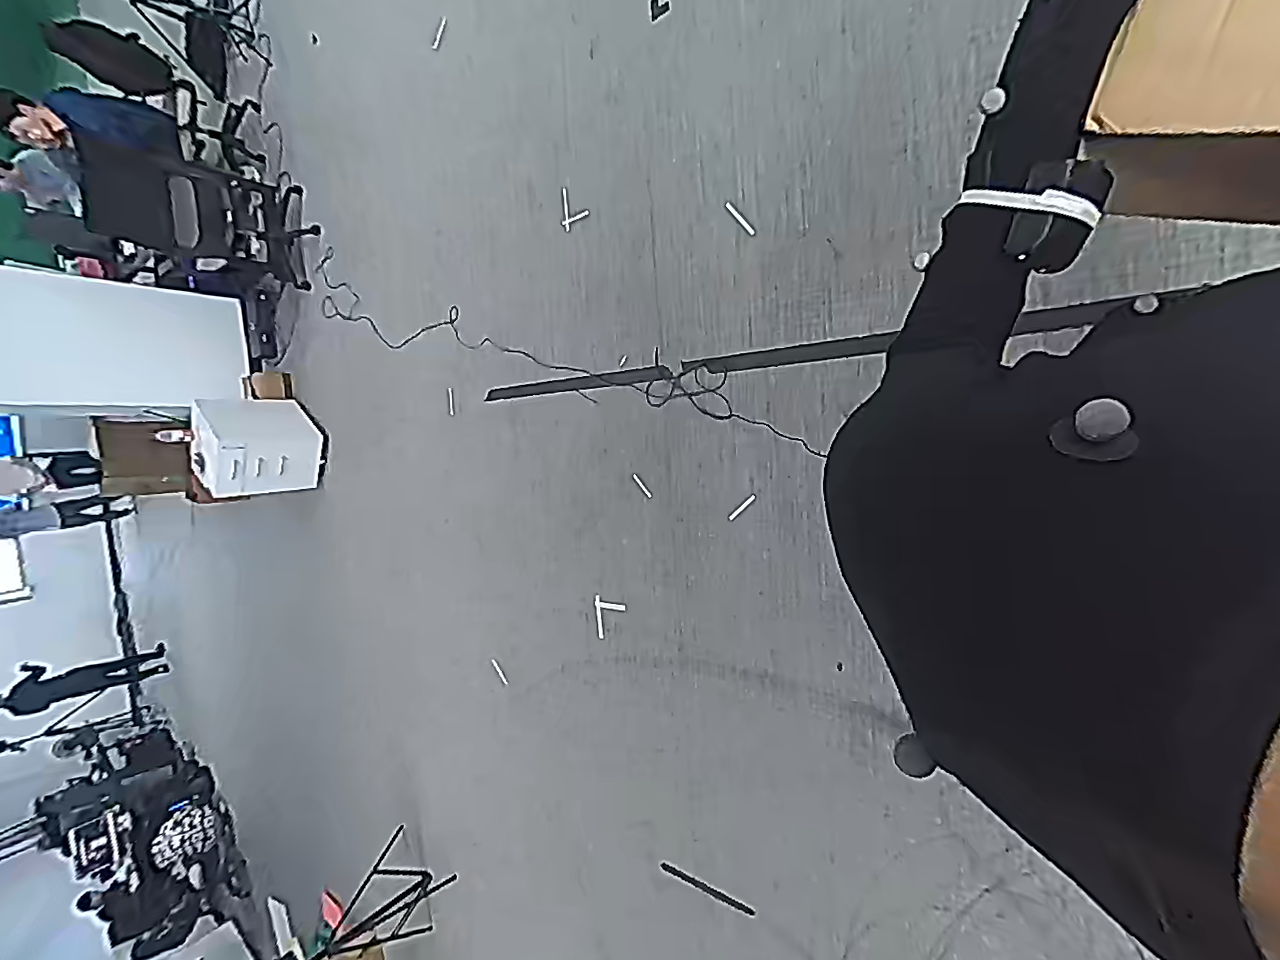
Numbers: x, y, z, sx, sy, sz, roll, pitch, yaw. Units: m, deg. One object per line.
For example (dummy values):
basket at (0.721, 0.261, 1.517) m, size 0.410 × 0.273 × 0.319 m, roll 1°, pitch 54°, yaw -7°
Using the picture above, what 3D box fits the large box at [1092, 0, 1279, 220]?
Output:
large box at (0.575, -0.342, 0.322) m, size 0.408 × 0.320 × 0.320 m, roll 25°, pitch 117°, yaw 33°
